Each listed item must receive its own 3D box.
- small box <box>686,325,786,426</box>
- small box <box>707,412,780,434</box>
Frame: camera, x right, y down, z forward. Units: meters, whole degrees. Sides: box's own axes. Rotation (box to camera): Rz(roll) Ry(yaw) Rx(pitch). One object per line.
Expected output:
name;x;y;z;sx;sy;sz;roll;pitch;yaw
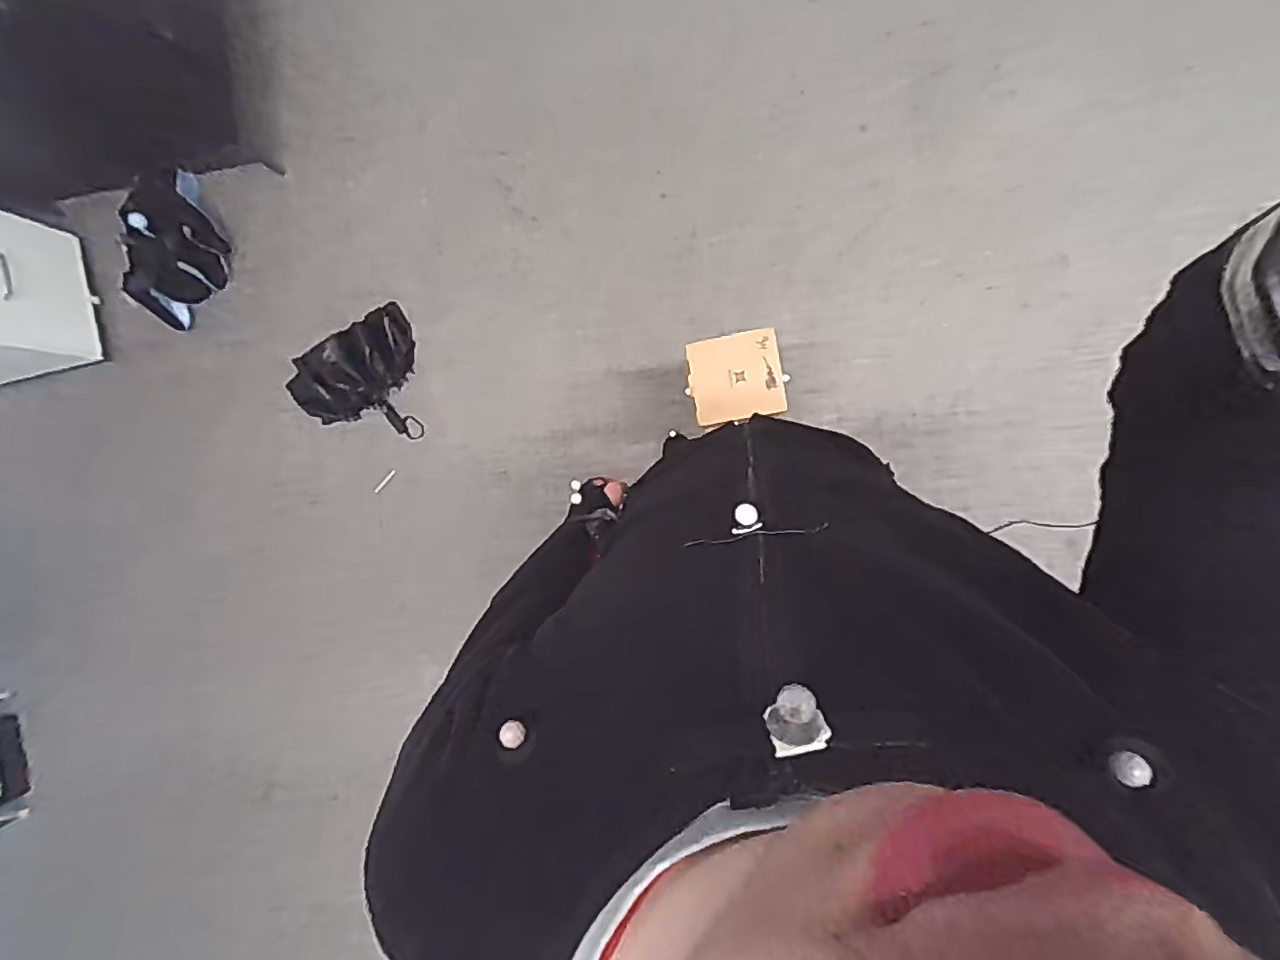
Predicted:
small box;0.200;-0.208;1.127;0.179;0.176;0.168;-9;91;10
small box;0.231;-0.210;1.288;0.168;0.176;0.179;-9;92;10
